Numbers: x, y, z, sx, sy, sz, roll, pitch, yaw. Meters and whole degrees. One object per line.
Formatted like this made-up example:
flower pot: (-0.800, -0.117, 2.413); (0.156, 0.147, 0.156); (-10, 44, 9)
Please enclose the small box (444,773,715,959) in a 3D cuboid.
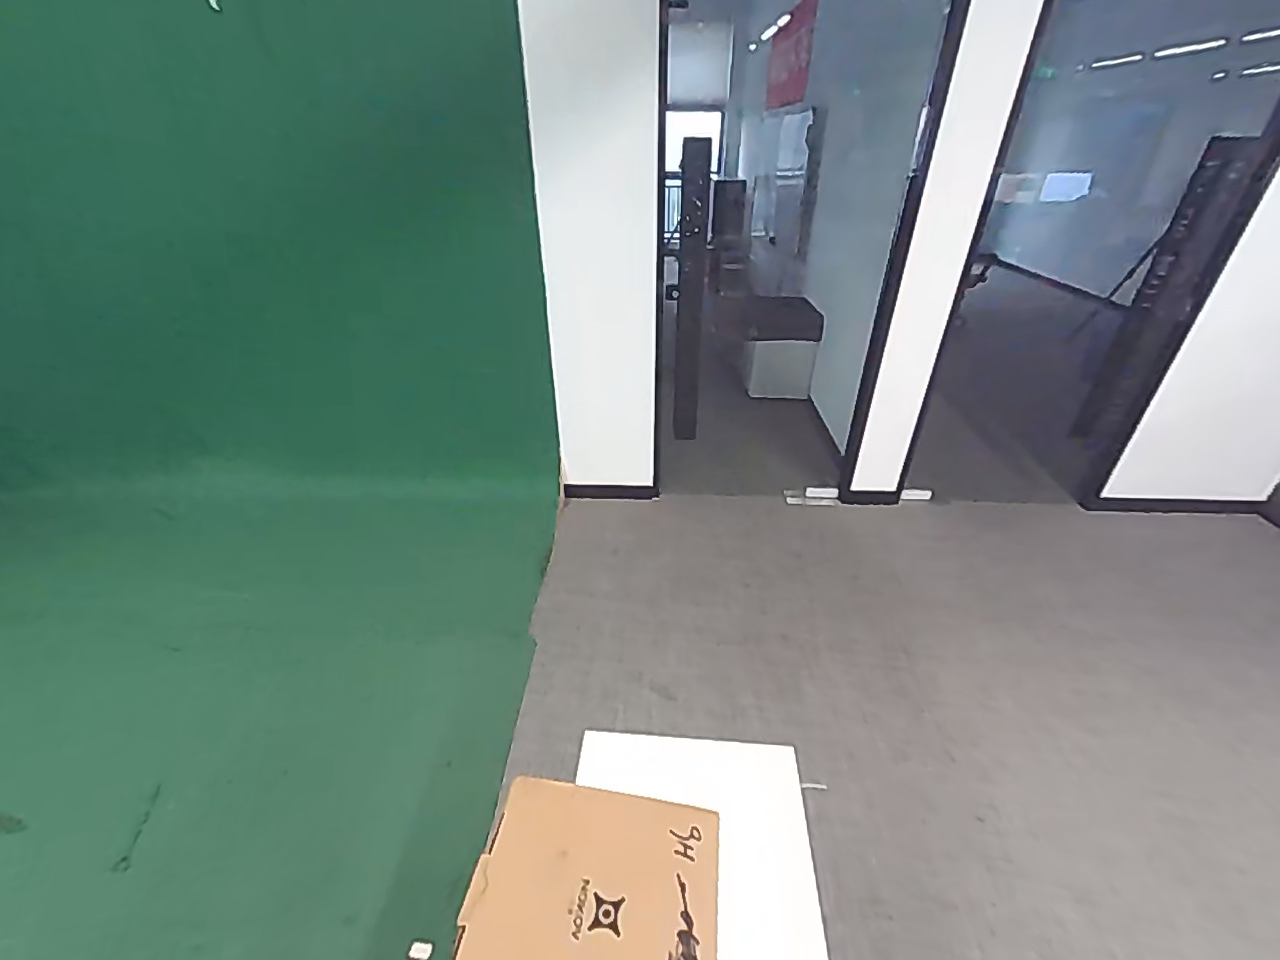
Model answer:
small box: (-0.040, 0.368, 0.426); (0.179, 0.176, 0.168); (7, 34, 5)
